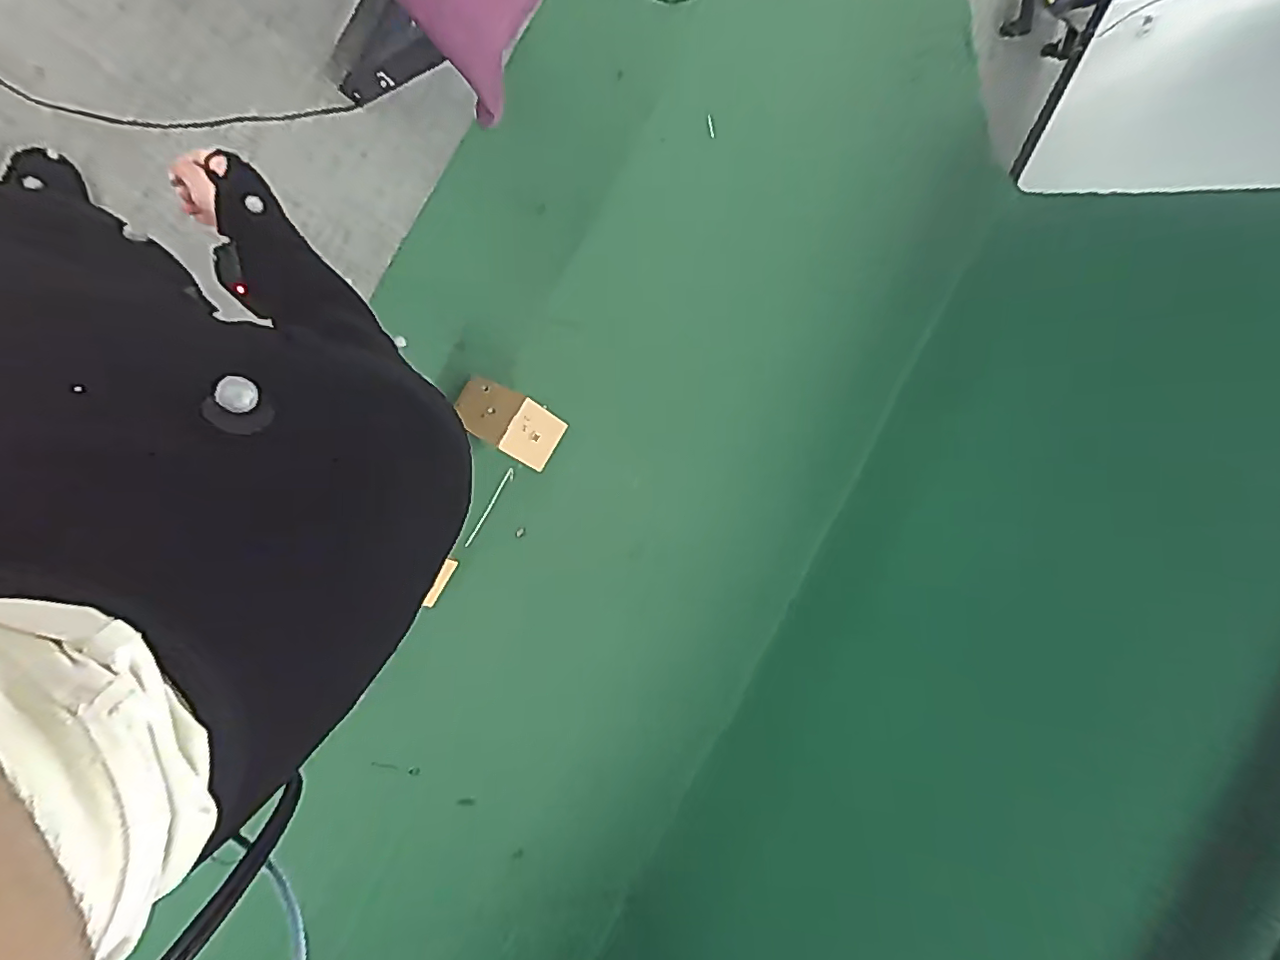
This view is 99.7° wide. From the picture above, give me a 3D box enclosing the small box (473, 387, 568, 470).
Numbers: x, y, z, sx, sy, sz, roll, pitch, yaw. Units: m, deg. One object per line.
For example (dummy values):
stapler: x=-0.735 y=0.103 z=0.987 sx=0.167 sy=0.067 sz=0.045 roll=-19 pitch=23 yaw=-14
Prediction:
small box: x=-0.353 y=-0.156 z=1.596 sx=0.179 sy=0.176 sz=0.168 roll=35 pitch=84 yaw=-47
